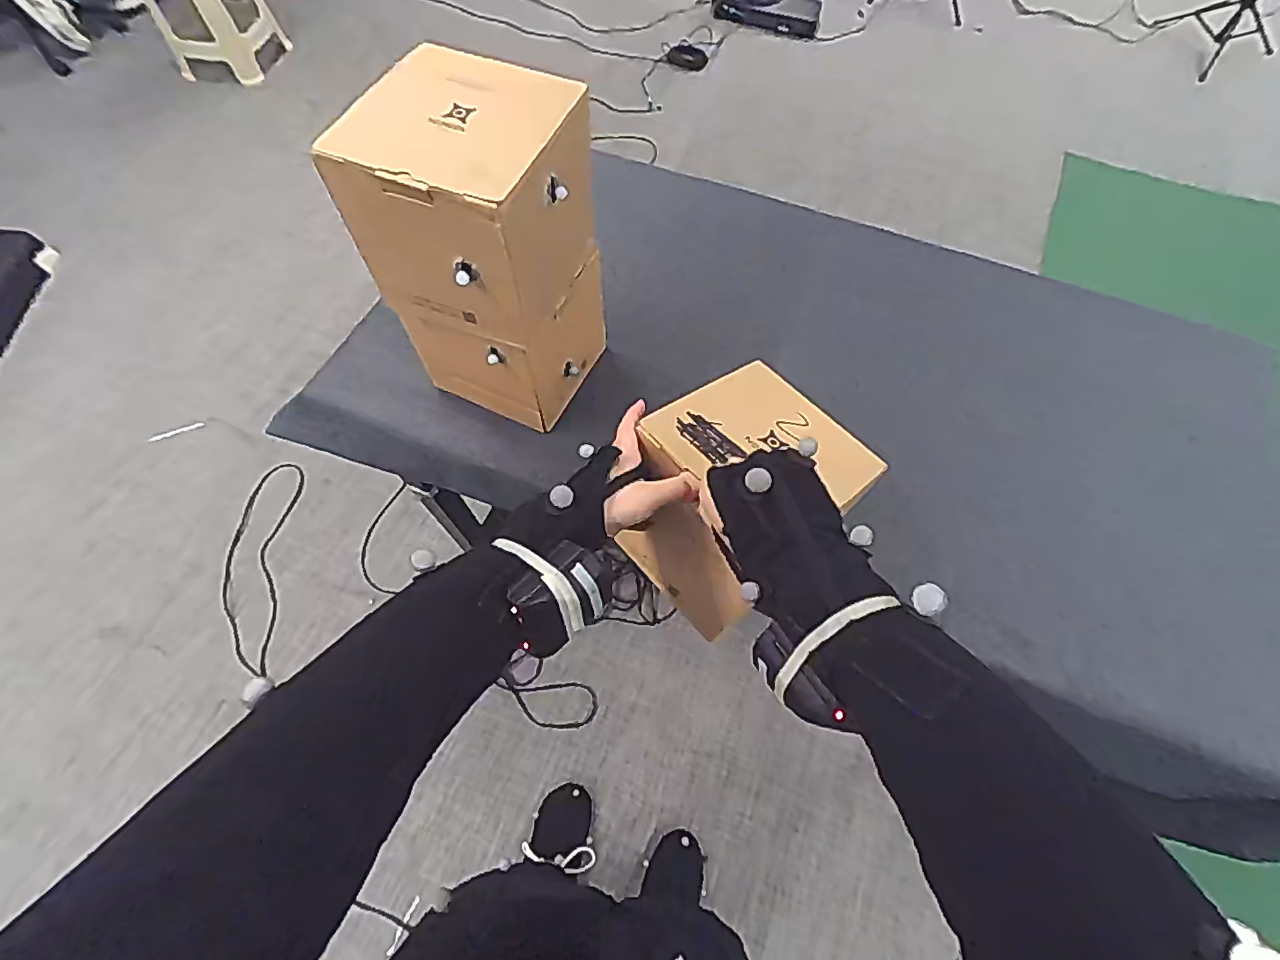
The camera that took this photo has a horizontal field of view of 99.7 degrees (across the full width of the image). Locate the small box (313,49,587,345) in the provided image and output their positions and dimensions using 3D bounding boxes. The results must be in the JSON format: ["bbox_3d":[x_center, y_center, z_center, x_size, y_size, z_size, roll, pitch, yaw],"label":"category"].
[{"bbox_3d":[-0.155,-0.260,0.518,0.168,0.176,0.179,19,63,6],"label":"small box"}]

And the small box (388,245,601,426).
[{"bbox_3d":[-0.161,-0.193,0.665,0.179,0.176,0.168,24,65,10],"label":"small box"}]
